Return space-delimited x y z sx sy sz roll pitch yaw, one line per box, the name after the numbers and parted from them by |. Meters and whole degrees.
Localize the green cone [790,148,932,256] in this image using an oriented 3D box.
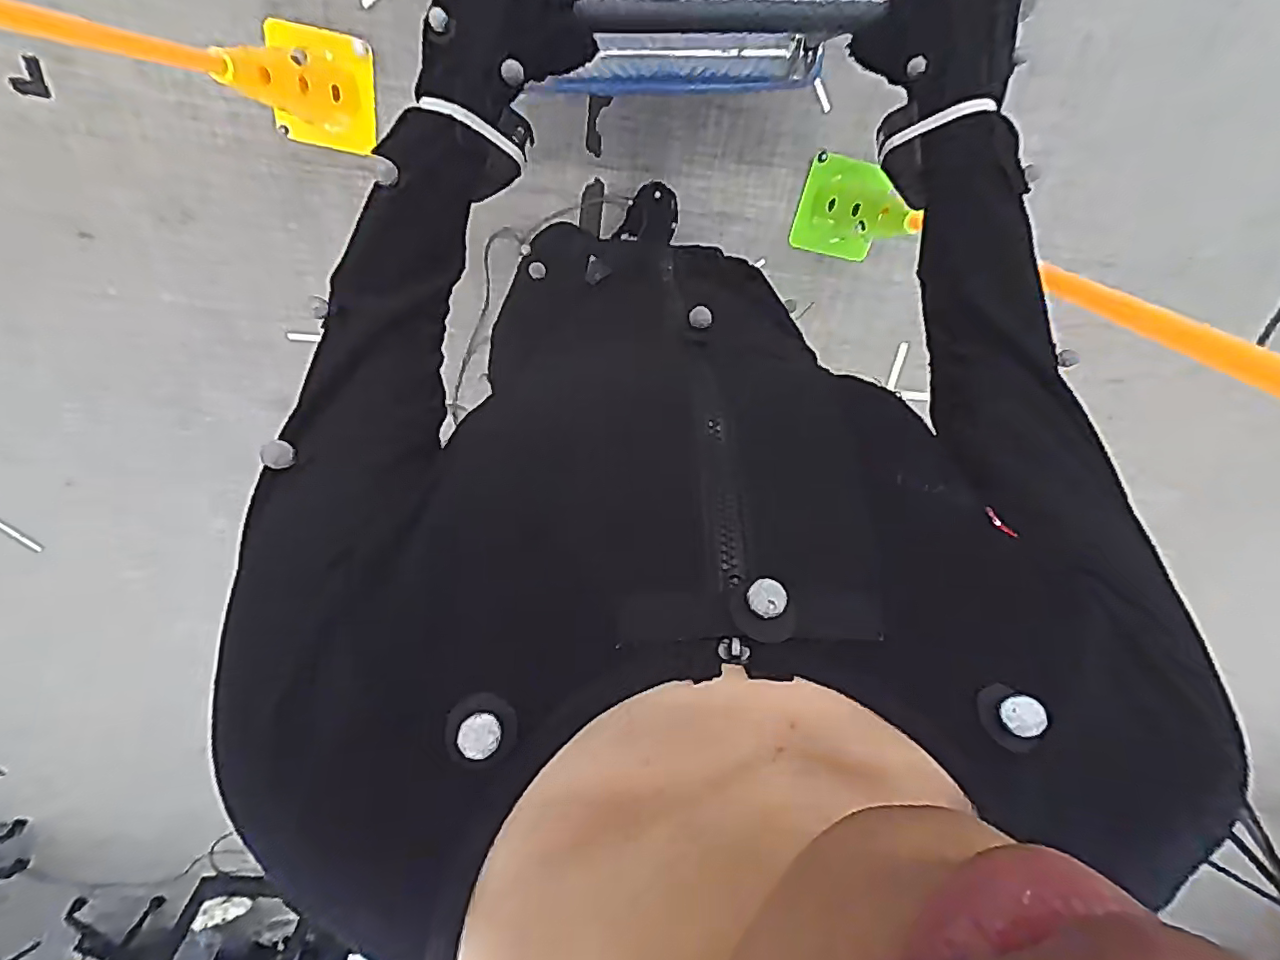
0.477 -0.550 1.105 0.202 0.368 0.200 8 120 -9 | green cone
